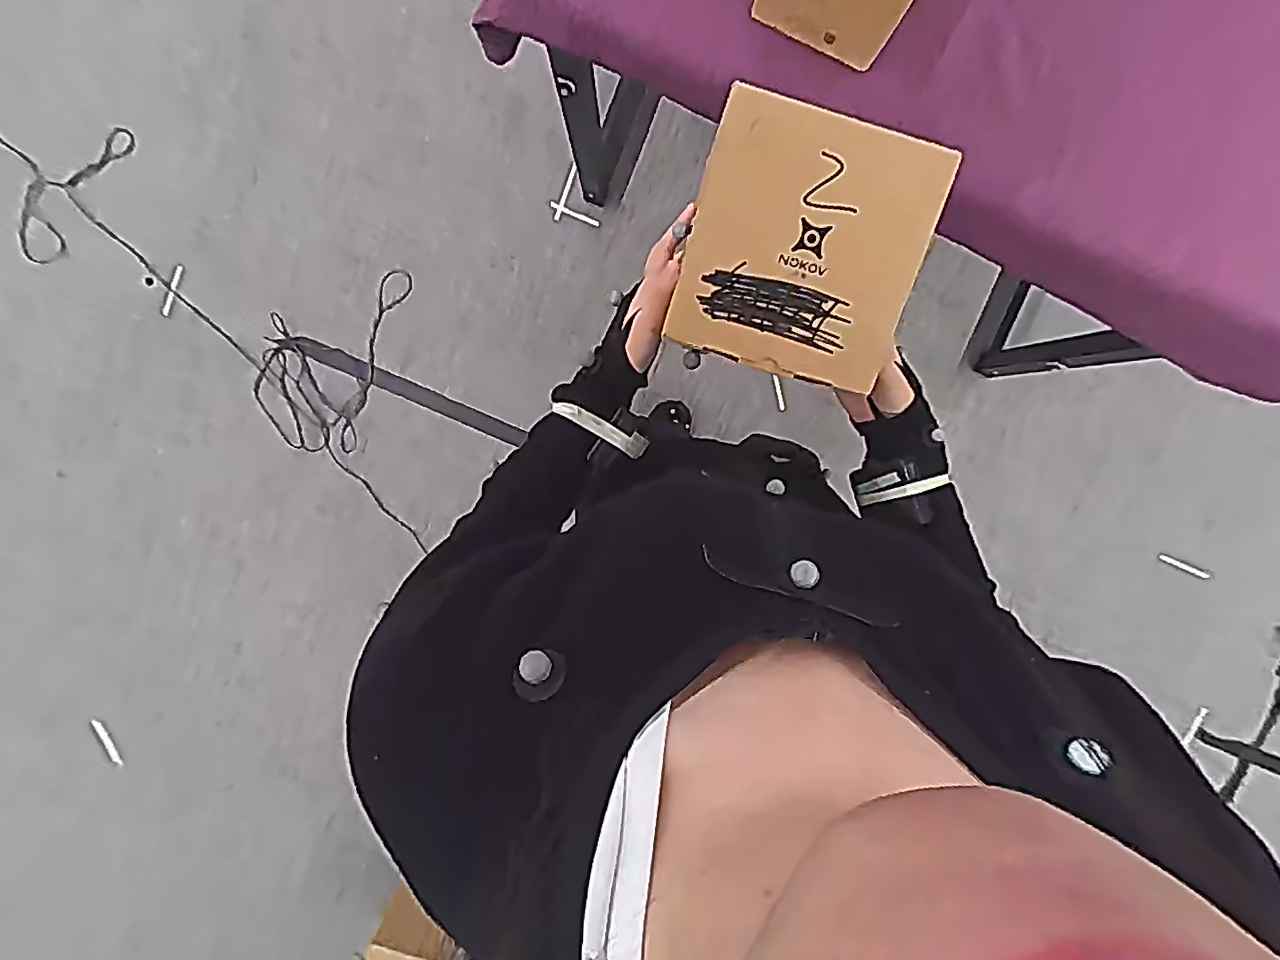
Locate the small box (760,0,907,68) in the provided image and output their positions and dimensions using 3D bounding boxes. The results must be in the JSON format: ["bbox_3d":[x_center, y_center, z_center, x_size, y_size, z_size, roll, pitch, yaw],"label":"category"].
[{"bbox_3d":[0.251,-0.630,0.617,0.168,0.176,0.179,24,95,-3],"label":"small box"}]
